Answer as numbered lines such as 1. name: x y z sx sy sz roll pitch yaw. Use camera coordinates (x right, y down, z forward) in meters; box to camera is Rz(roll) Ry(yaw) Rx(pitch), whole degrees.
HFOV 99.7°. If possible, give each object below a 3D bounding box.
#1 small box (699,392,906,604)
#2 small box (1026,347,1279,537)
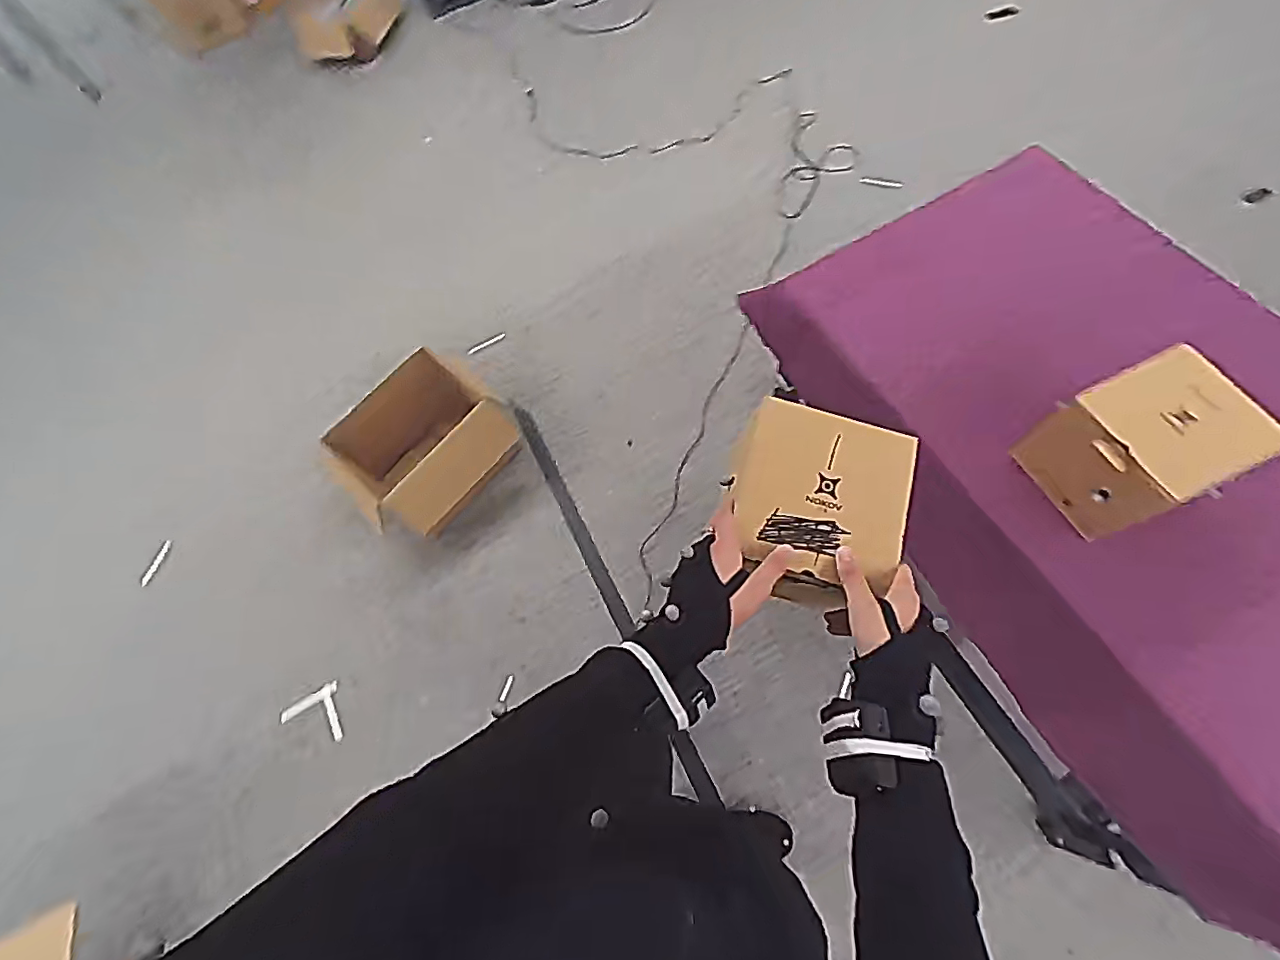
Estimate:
1. small box: 0.170 0.032 0.610 0.168 0.176 0.179 16 72 2
2. small box: 0.679 -0.042 0.741 0.179 0.176 0.168 -24 67 -4
